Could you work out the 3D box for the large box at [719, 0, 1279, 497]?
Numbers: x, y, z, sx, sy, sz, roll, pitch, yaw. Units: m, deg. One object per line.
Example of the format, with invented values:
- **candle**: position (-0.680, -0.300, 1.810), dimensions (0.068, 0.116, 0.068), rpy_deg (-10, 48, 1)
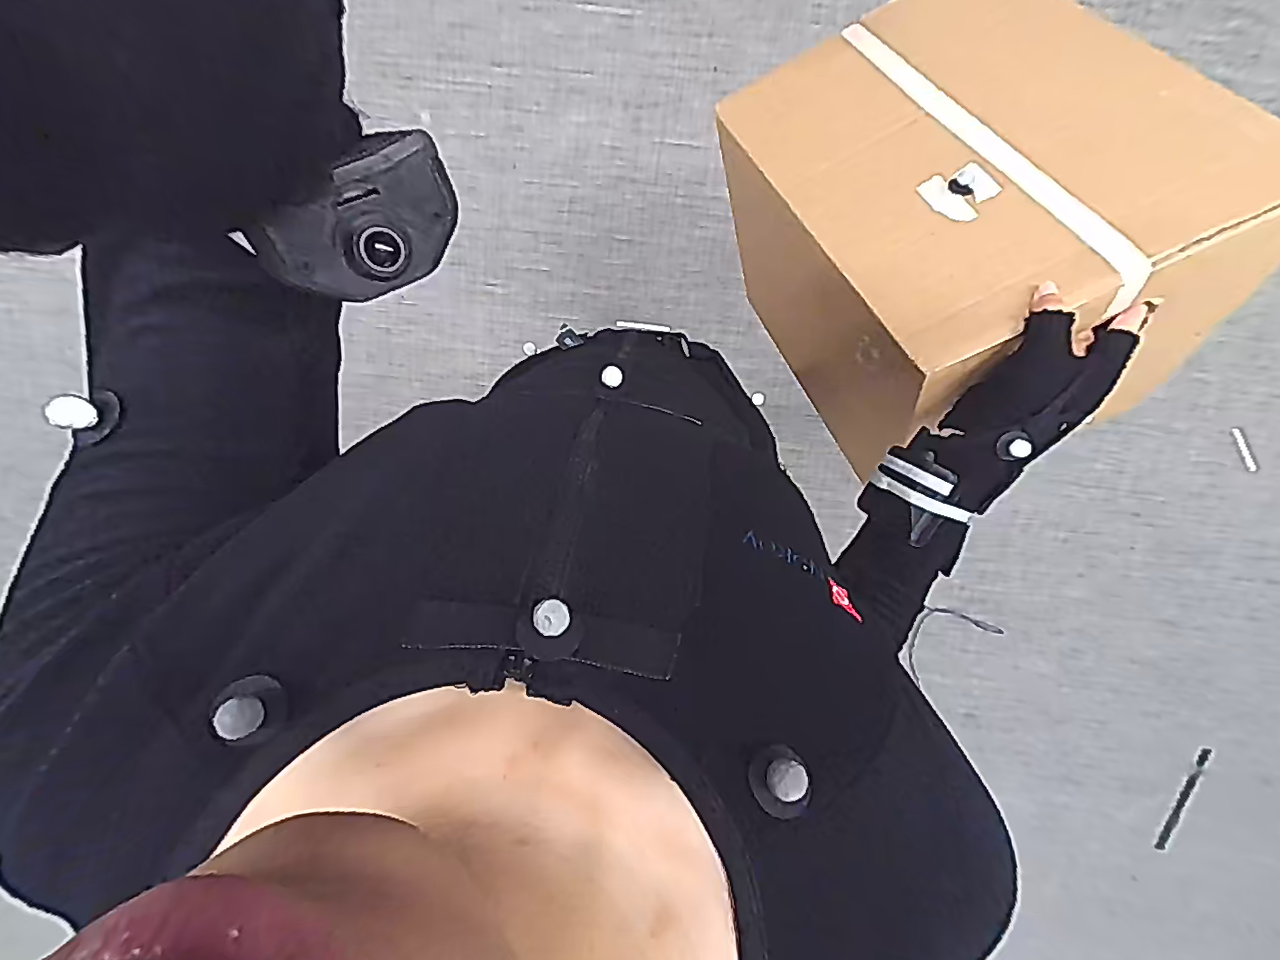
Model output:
- **large box**: position (0.327, -0.256, 0.613), dimensions (0.320, 0.320, 0.408), rpy_deg (-26, 62, 7)
